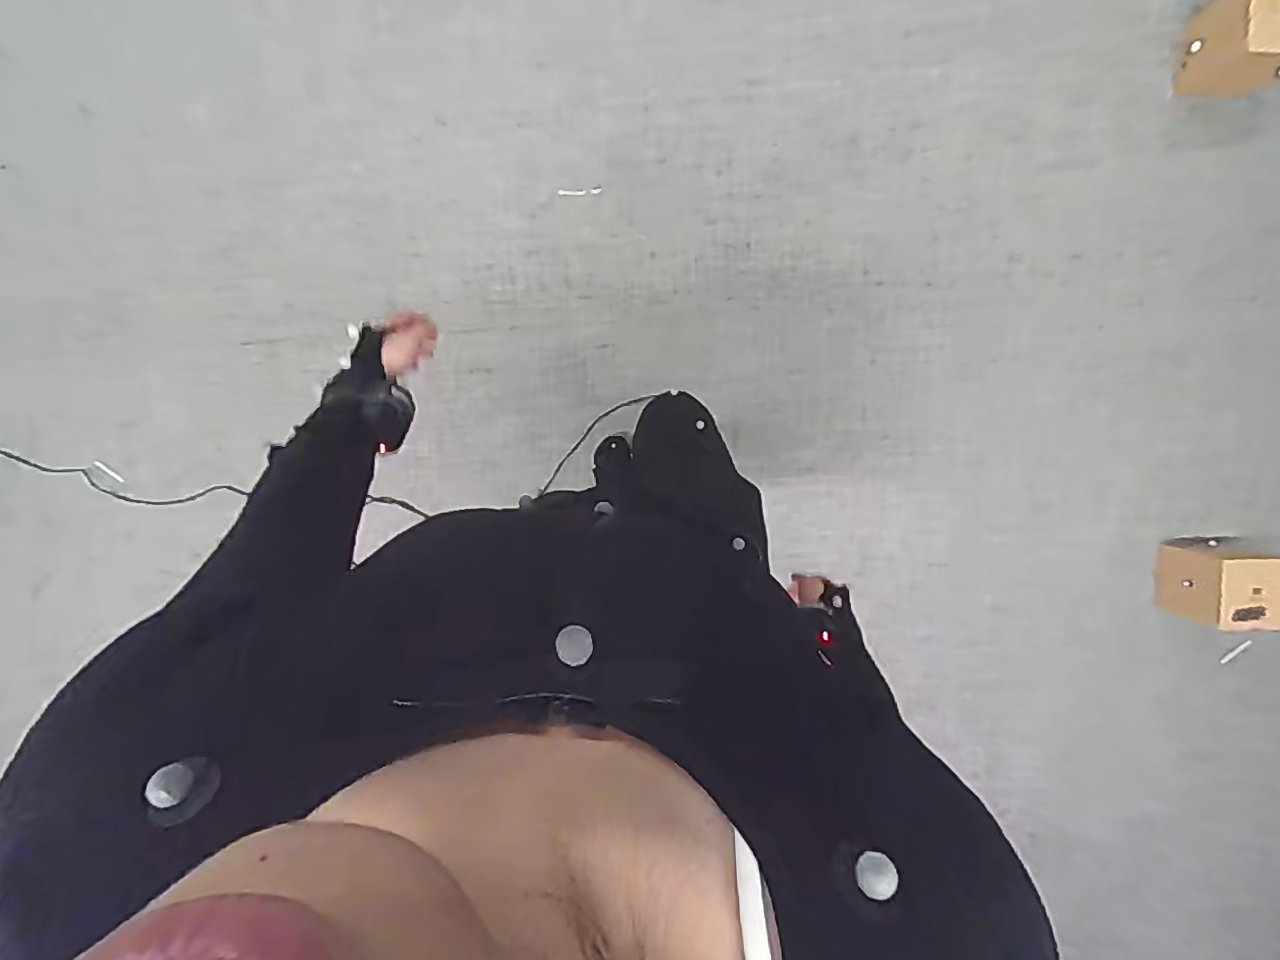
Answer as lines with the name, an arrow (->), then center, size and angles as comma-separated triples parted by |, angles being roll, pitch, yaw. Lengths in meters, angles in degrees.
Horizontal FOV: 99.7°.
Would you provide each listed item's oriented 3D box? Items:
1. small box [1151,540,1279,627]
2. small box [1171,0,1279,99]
small box -> 1.461, 0.259, 1.378 | 0.168, 0.176, 0.179 | -2, 96, 3
small box -> 1.383, -1.001, 1.227 | 0.179, 0.176, 0.168 | 3, 96, 2
